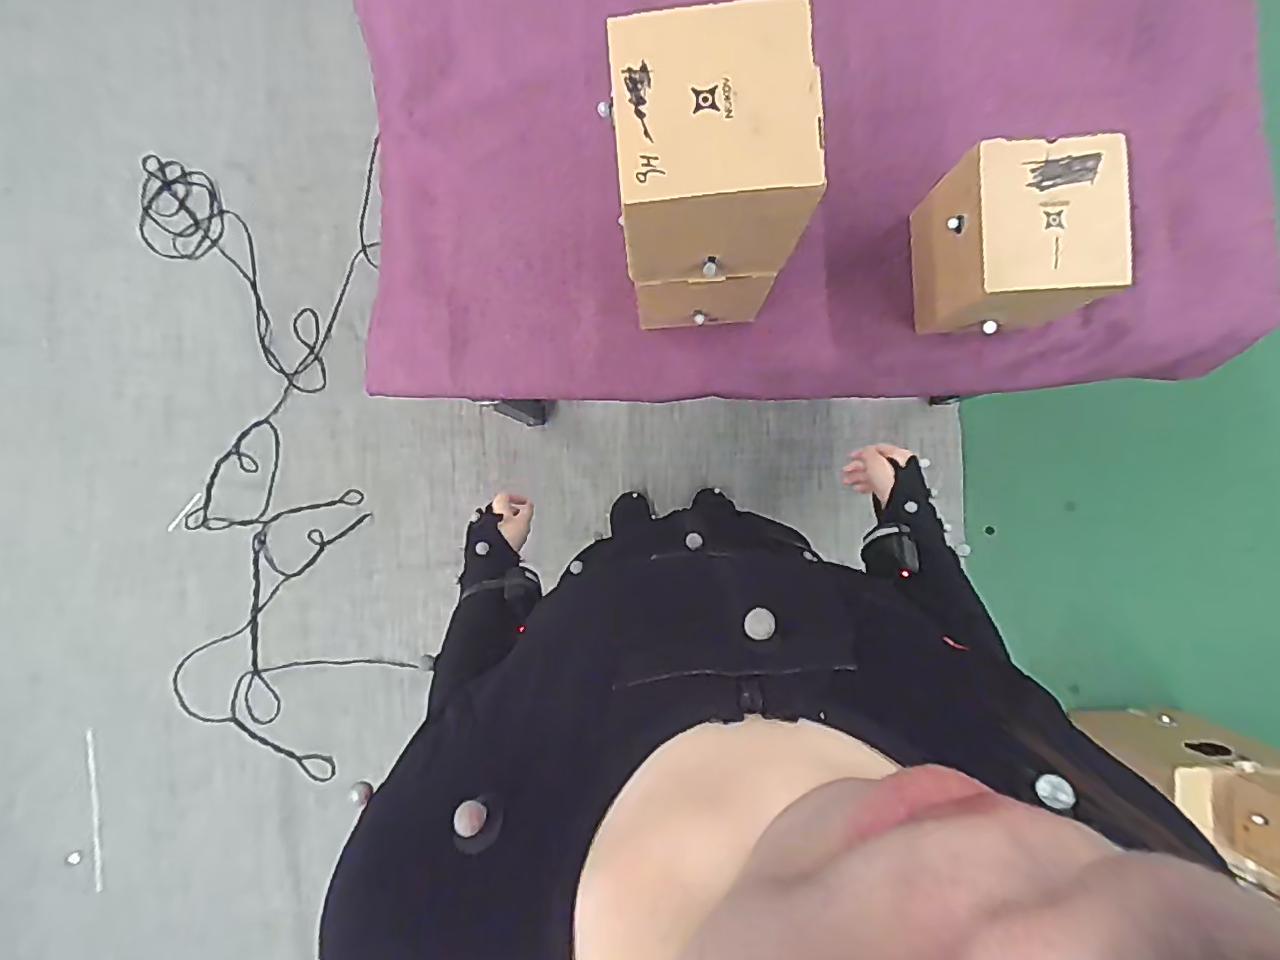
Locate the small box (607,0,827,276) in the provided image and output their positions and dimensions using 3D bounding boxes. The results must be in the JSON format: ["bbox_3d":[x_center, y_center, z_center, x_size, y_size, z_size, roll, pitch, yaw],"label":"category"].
[{"bbox_3d":[0.064,-0.316,0.527,0.179,0.176,0.168,-4,87,1],"label":"small box"}]

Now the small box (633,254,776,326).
[{"bbox_3d":[0.071,-0.313,0.691,0.168,0.176,0.179,-3,88,3],"label":"small box"}]

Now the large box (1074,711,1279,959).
[{"bbox_3d":[1.318,0.819,1.301,0.320,0.320,0.408,-1,90,3],"label":"large box"}]

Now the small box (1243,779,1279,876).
[{"bbox_3d":[1.359,0.711,1.057,0.179,0.176,0.168,-1,90,2],"label":"small box"}]

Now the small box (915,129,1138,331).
[{"bbox_3d":[0.466,-0.300,0.678,0.168,0.176,0.179,-2,90,2],"label":"small box"}]
